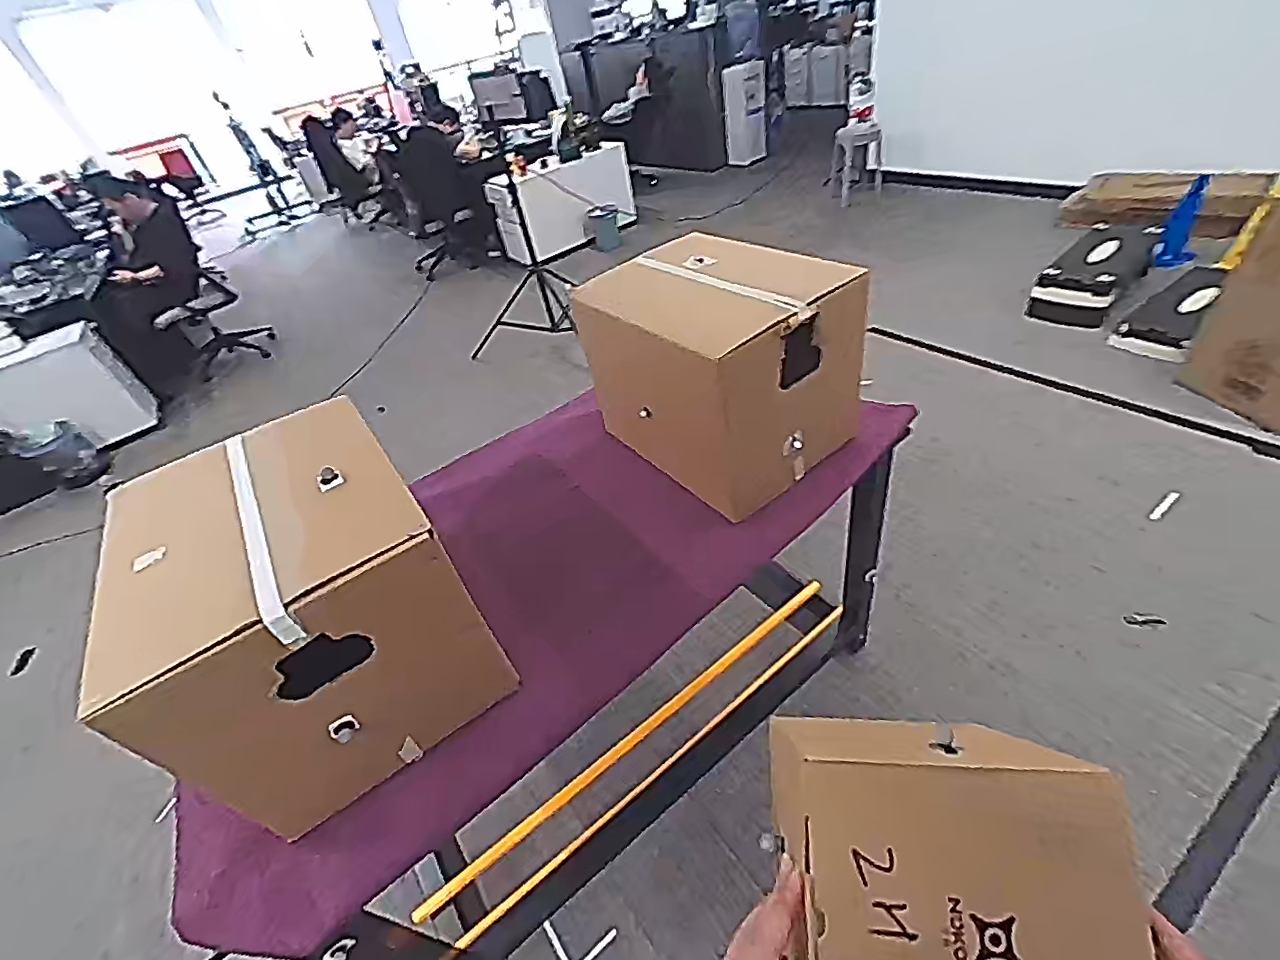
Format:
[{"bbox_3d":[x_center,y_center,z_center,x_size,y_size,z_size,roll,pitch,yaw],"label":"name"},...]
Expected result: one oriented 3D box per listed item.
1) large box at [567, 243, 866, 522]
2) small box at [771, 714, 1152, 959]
[{"bbox_3d":[0.136,-0.194,0.973,0.320,0.320,0.408,-33,42,-21],"label":"large box"},{"bbox_3d":[0.191,0.262,0.370,0.179,0.176,0.168,-1,74,7],"label":"small box"}]
